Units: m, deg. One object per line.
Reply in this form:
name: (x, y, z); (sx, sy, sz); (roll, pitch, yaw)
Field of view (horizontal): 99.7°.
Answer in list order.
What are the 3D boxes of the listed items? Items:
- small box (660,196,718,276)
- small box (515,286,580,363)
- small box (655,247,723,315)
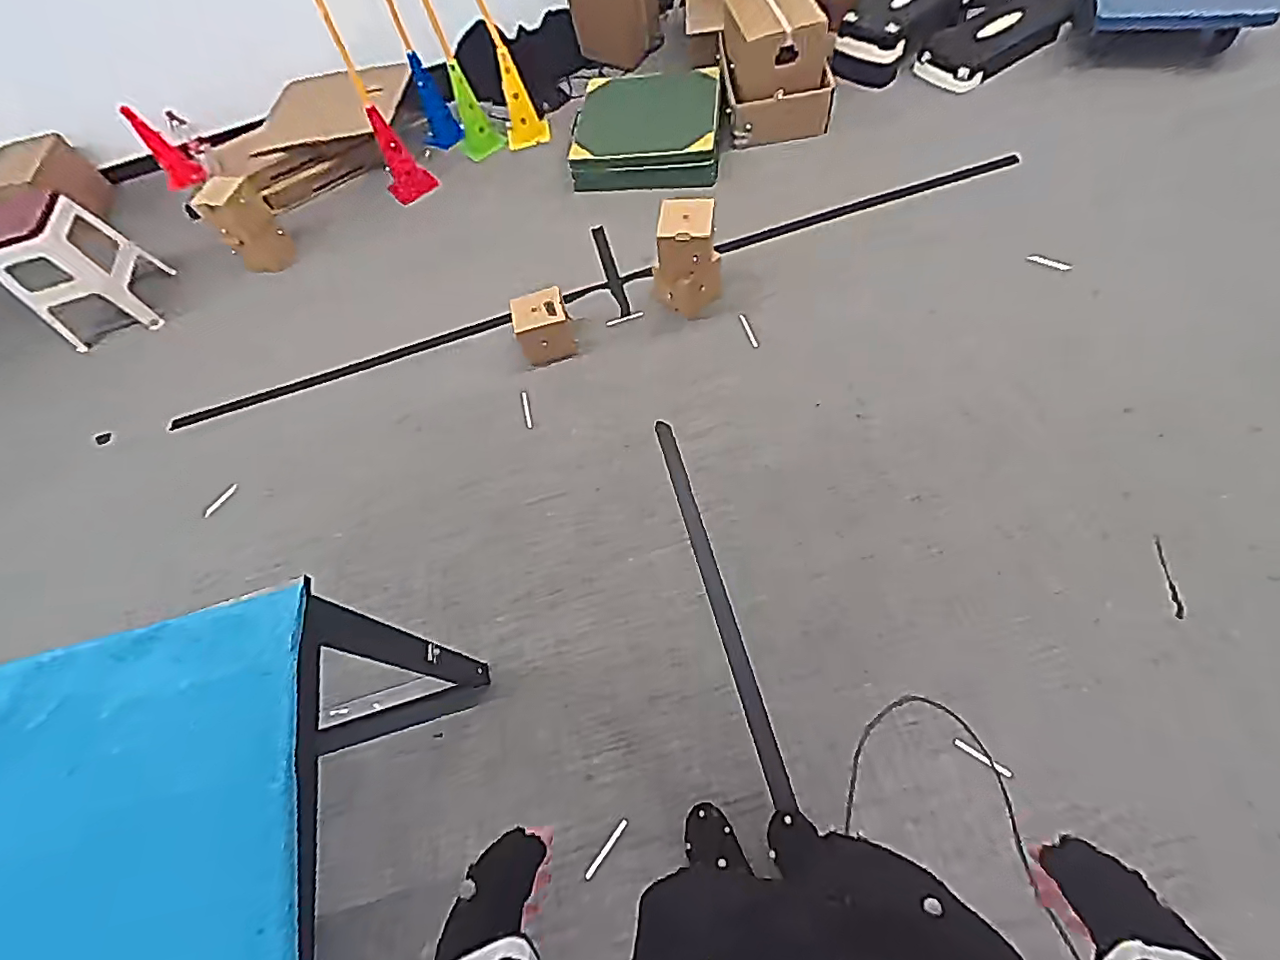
small box: (0.163, -0.778, 1.736); (0.168, 0.176, 0.179); (4, 63, 10)
small box: (-0.316, -0.537, 1.881); (0.179, 0.176, 0.168); (-16, 61, 3)
small box: (0.179, -0.712, 1.887); (0.168, 0.176, 0.179); (37, 73, 24)
